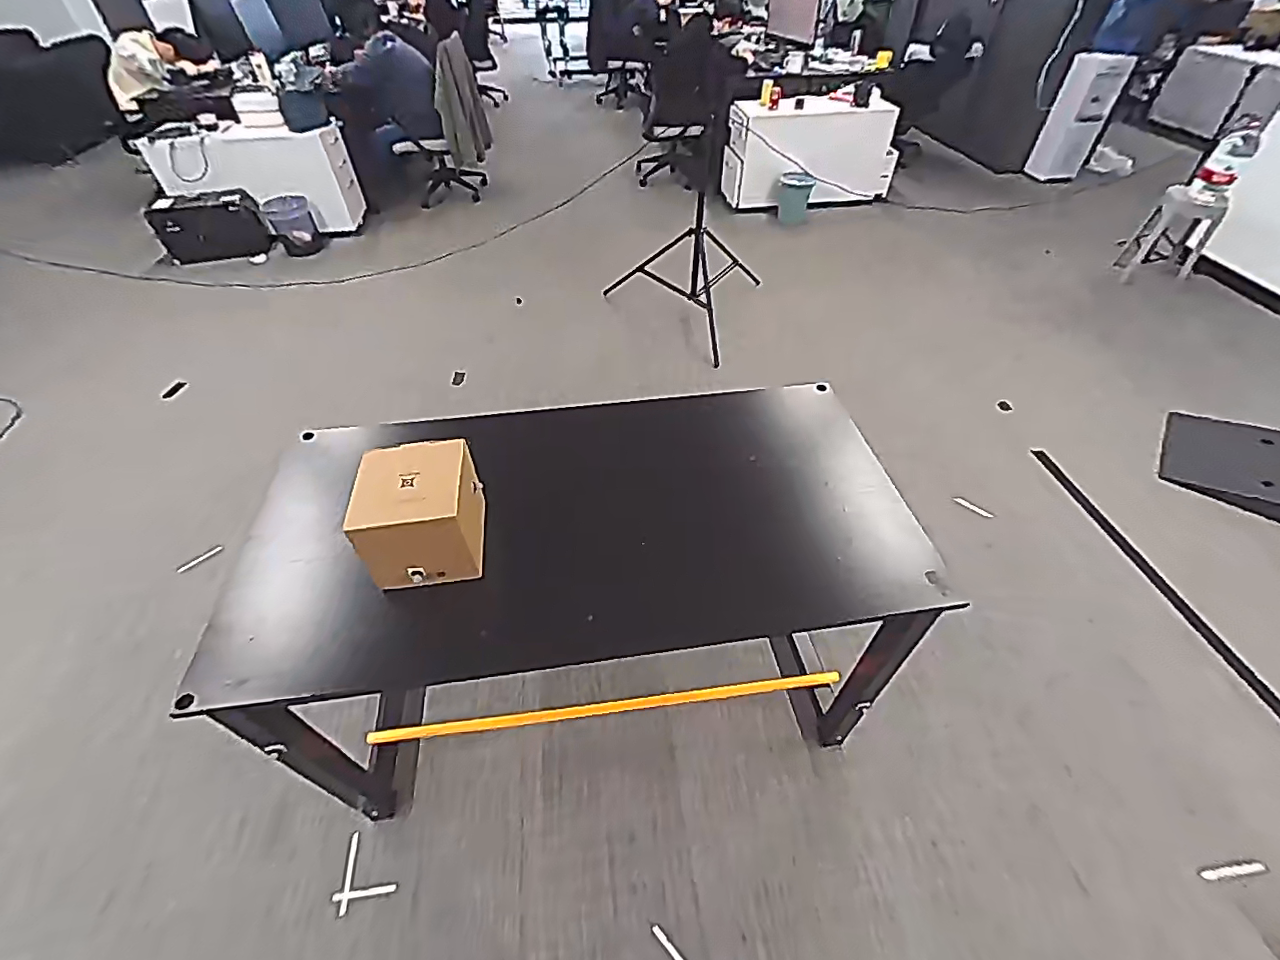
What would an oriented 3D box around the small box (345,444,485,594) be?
[{"bbox_3d":[-0.362,0.065,0.908,0.168,0.176,0.179,-9,47,-6],"label":"small box"}]
